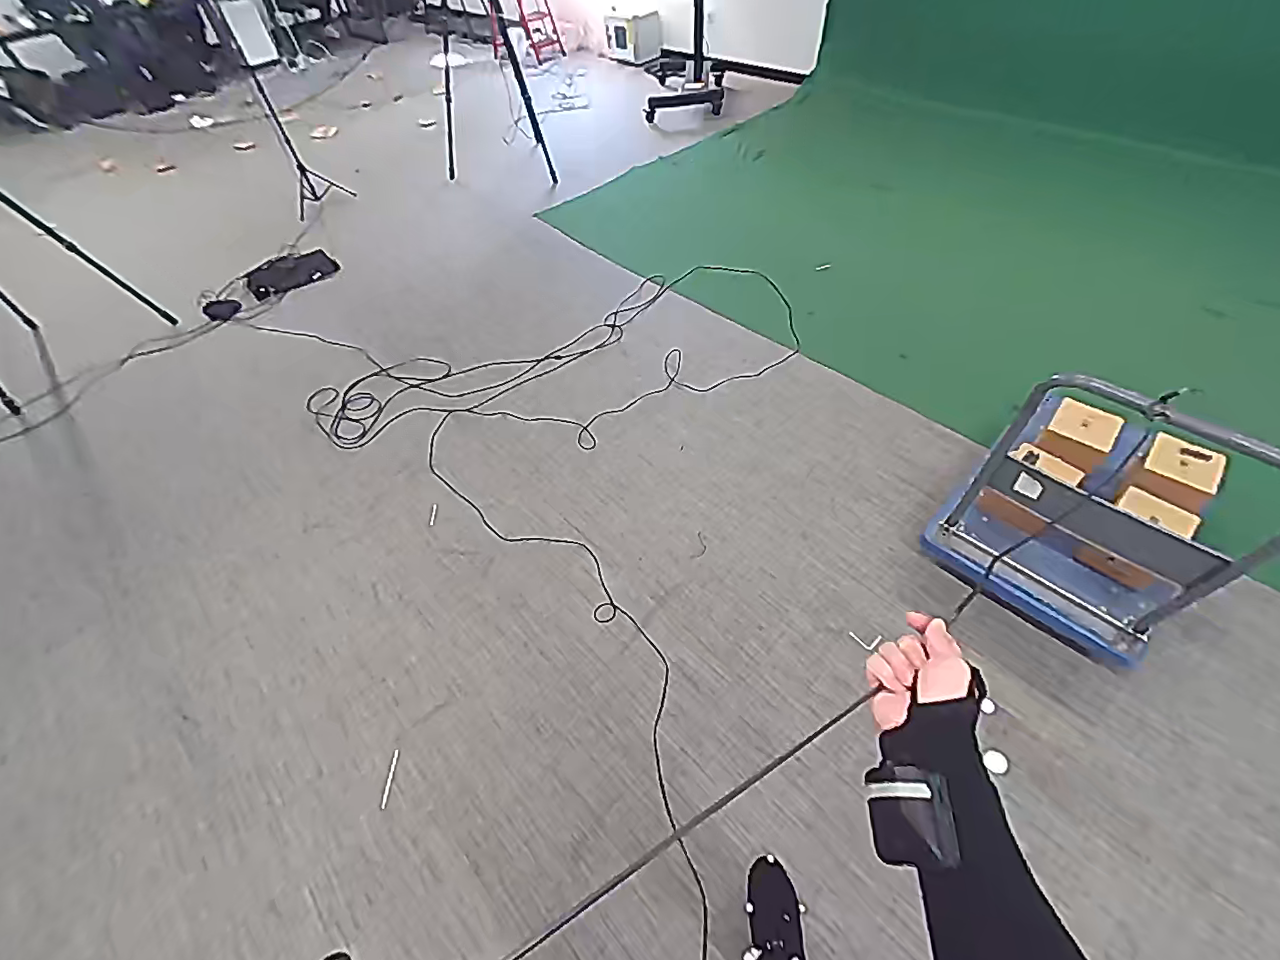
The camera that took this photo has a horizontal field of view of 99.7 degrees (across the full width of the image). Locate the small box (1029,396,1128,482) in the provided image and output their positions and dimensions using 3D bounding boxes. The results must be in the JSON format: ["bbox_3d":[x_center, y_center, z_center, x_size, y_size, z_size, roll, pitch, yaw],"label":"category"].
[{"bbox_3d":[1.364,-0.125,1.694,0.168,0.176,0.179,33,61,27],"label":"small box"}]

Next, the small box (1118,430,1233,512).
[{"bbox_3d":[1.552,-0.006,1.577,0.168,0.176,0.179,32,62,28],"label":"small box"}]

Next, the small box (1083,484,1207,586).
[{"bbox_3d":[1.361,0.152,1.470,0.179,0.176,0.168,-39,57,-22],"label":"small box"}]
